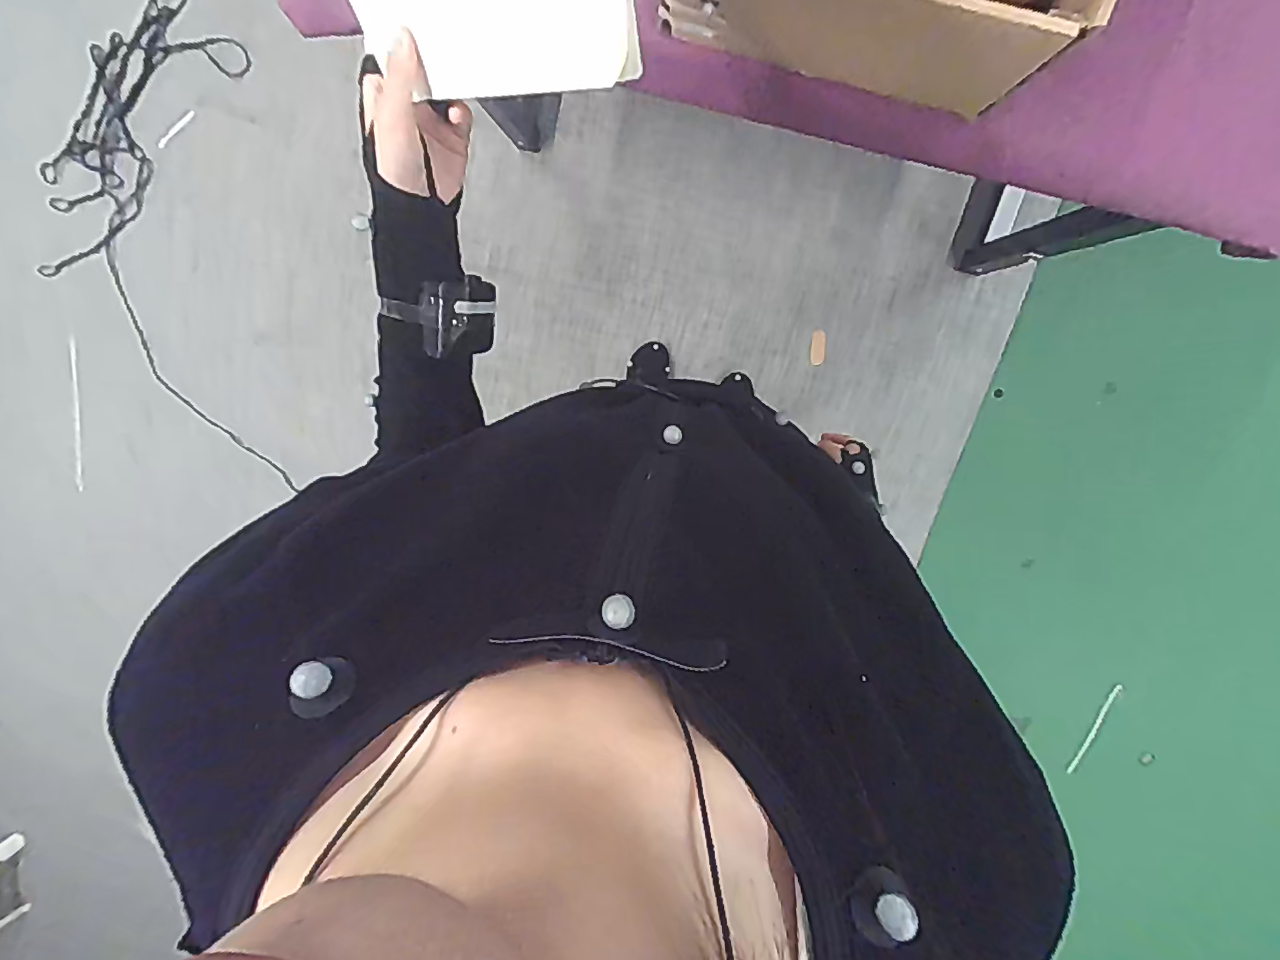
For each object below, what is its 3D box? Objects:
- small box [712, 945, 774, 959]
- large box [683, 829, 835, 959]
[{"bbox_3d":[0.270,1.351,1.391,0.168,0.176,0.179,1,102,5],"label":"small box"},{"bbox_3d":[0.334,1.312,1.629,0.408,0.320,0.320,0,103,4],"label":"large box"}]
